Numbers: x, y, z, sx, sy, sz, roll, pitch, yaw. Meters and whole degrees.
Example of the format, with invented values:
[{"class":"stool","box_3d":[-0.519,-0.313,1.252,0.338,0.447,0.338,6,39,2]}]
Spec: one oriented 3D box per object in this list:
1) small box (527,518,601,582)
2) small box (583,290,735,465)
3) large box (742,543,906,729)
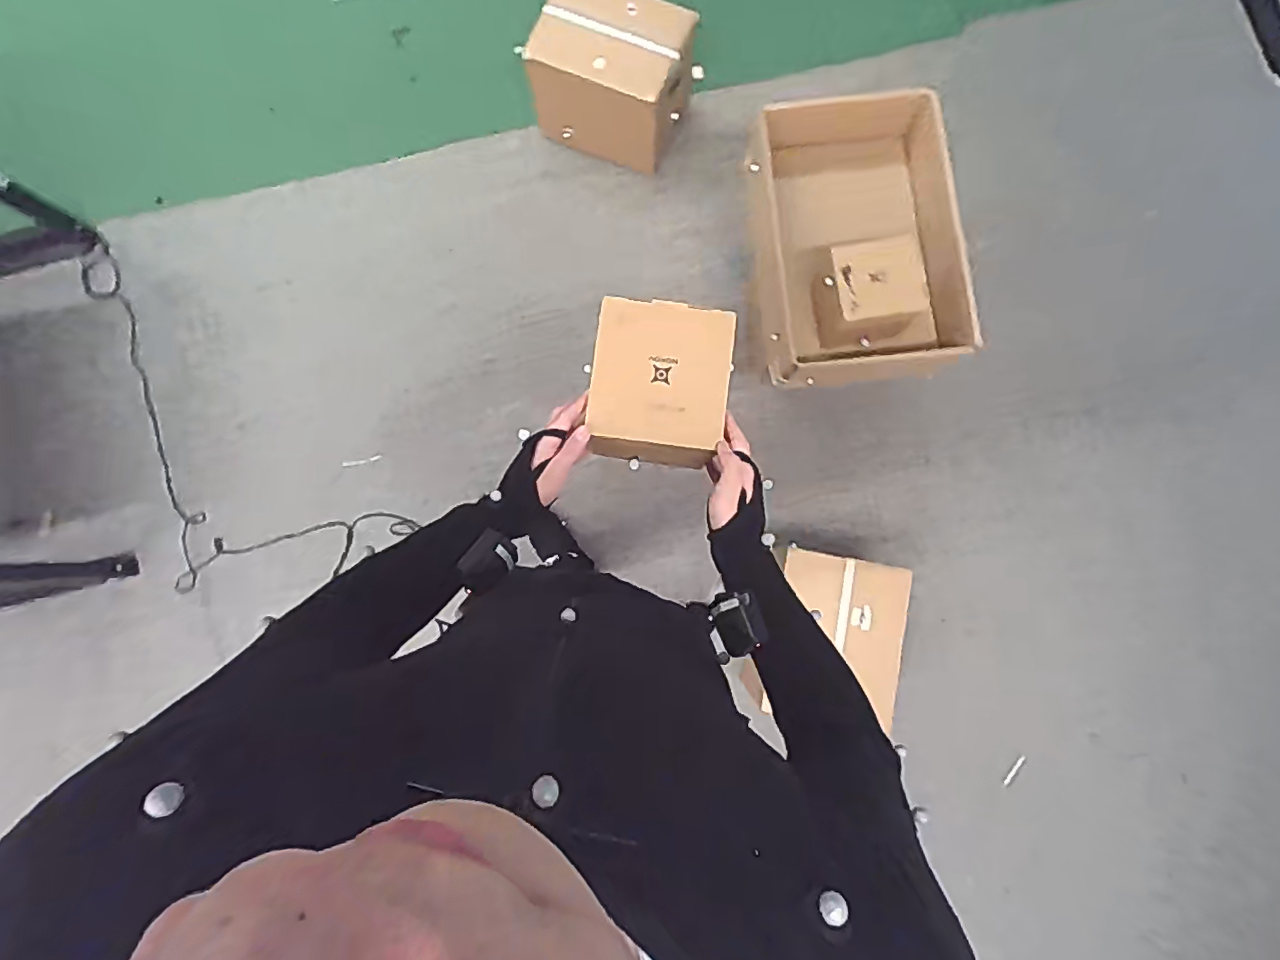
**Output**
[{"class":"small box","box_3d":[-0.223,0.207,1.589,0.179,0.176,0.168,5,81,9]},{"class":"small box","box_3d":[0.020,-0.124,0.721,0.168,0.176,0.179,7,84,-1]},{"class":"large box","box_3d":[0.478,0.397,1.467,0.320,0.320,0.408,11,83,2]}]
